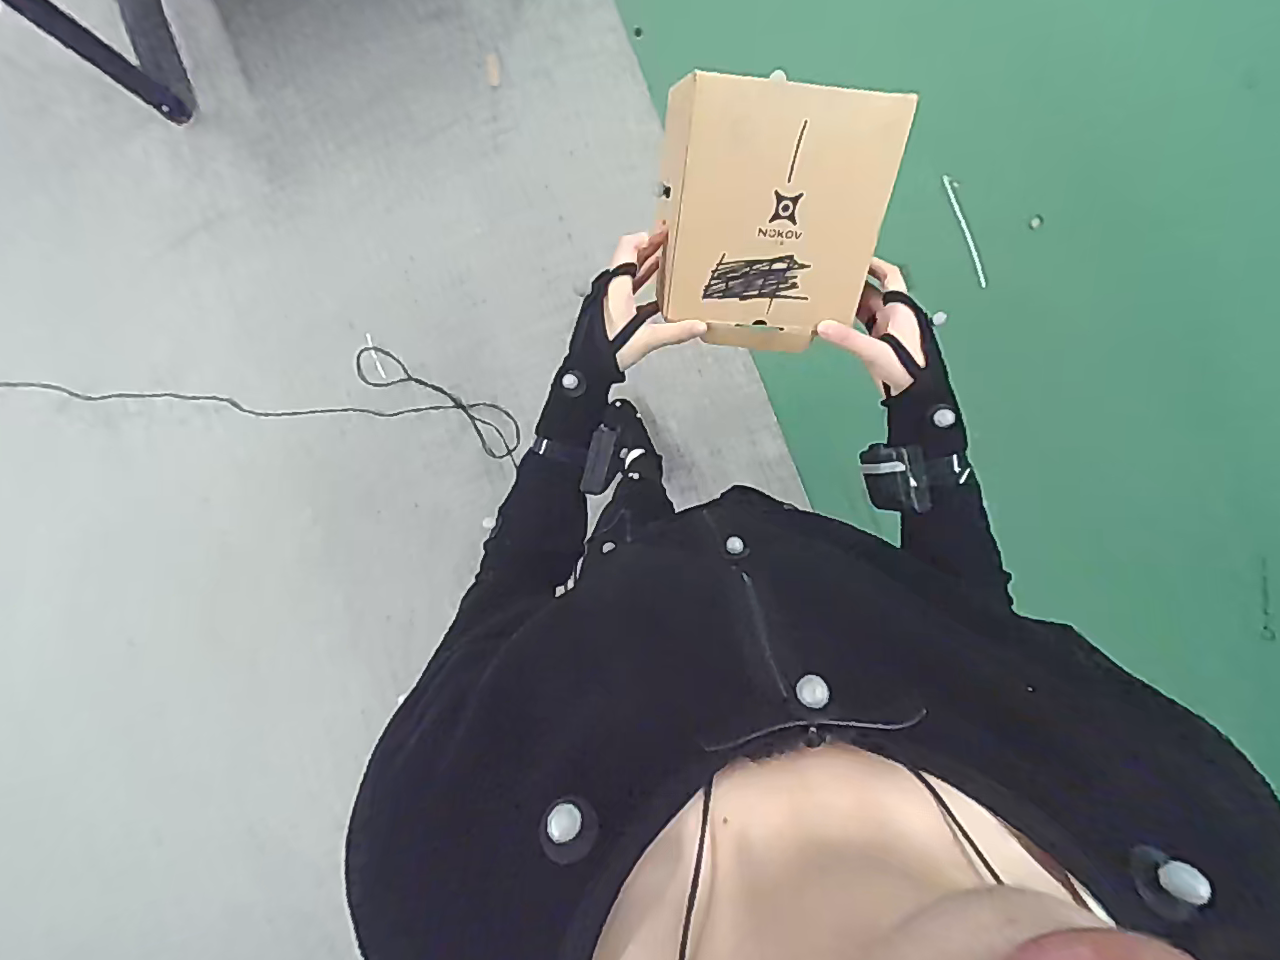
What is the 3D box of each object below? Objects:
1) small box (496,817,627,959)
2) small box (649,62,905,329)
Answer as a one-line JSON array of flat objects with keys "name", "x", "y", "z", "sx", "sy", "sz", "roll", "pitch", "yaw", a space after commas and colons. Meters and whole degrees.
[{"name": "small box", "x": -0.141, "y": 0.794, "z": 1.040, "sx": 0.168, "sy": 0.176, "sz": 0.179, "roll": -35, "pitch": 89, "yaw": 3}, {"name": "small box", "x": 0.100, "y": -0.254, "z": 0.494, "sx": 0.168, "sy": 0.176, "sz": 0.179, "roll": 3, "pitch": 121, "yaw": -6}]
